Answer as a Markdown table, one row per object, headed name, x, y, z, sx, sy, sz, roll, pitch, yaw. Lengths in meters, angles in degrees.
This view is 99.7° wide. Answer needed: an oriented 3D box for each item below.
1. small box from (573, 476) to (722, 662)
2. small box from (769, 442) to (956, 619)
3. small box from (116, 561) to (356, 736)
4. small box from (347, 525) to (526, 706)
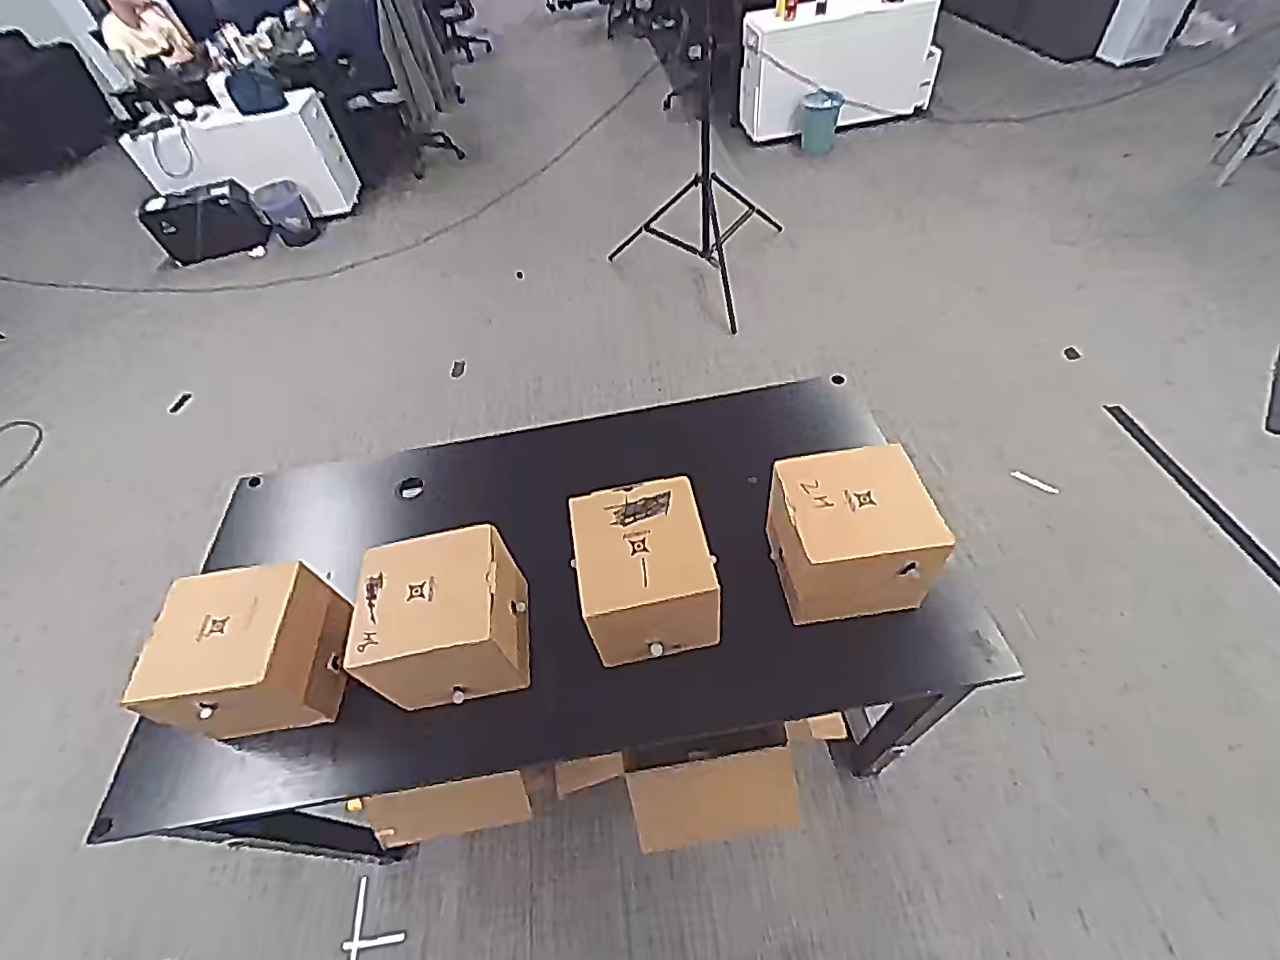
| name | x | y | z | sx | sy | sz | roll | pitch | yaw |
| --- | --- | --- | --- | --- | --- | --- | --- | --- | --- |
| small box | 0.010 | 0.124 | 0.740 | 0.168 | 0.176 | 0.179 | -12 | 51 | -1 |
| small box | 0.285 | 0.073 | 0.739 | 0.179 | 0.176 | 0.168 | -9 | 50 | 2 |
| small box | -0.515 | 0.231 | 0.727 | 0.179 | 0.176 | 0.168 | -8 | 52 | 0 |
| small box | -0.255 | 0.186 | 0.728 | 0.179 | 0.176 | 0.168 | -11 | 51 | -2 |
